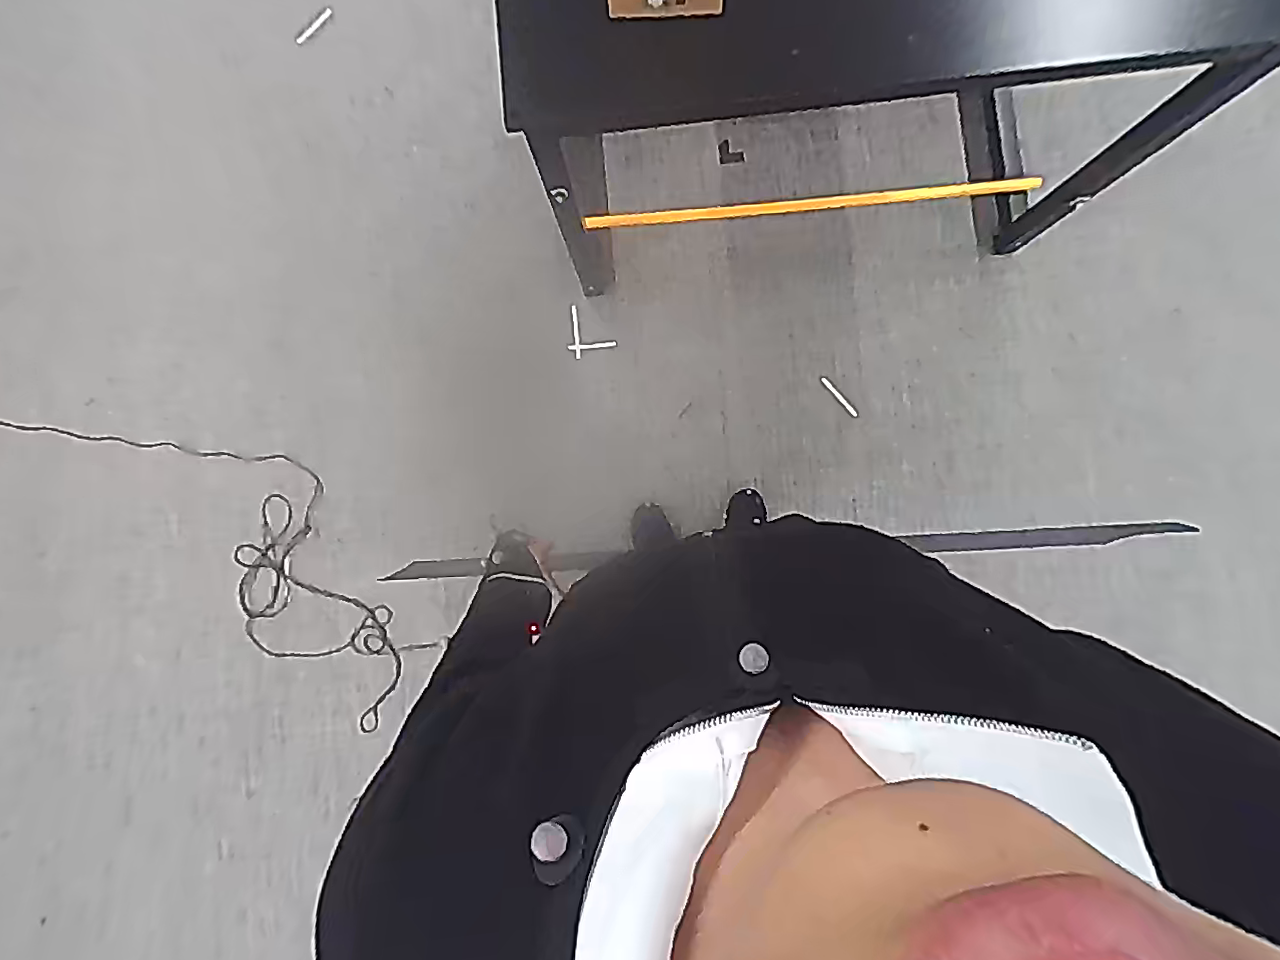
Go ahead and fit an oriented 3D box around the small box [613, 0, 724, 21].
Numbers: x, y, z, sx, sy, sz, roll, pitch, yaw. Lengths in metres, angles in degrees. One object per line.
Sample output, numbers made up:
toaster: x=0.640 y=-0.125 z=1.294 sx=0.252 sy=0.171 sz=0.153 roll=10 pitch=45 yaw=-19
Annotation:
small box: x=0.036 y=-0.767 z=0.717 sx=0.168 sy=0.176 sz=0.179 roll=-2 pitch=89 yaw=3
